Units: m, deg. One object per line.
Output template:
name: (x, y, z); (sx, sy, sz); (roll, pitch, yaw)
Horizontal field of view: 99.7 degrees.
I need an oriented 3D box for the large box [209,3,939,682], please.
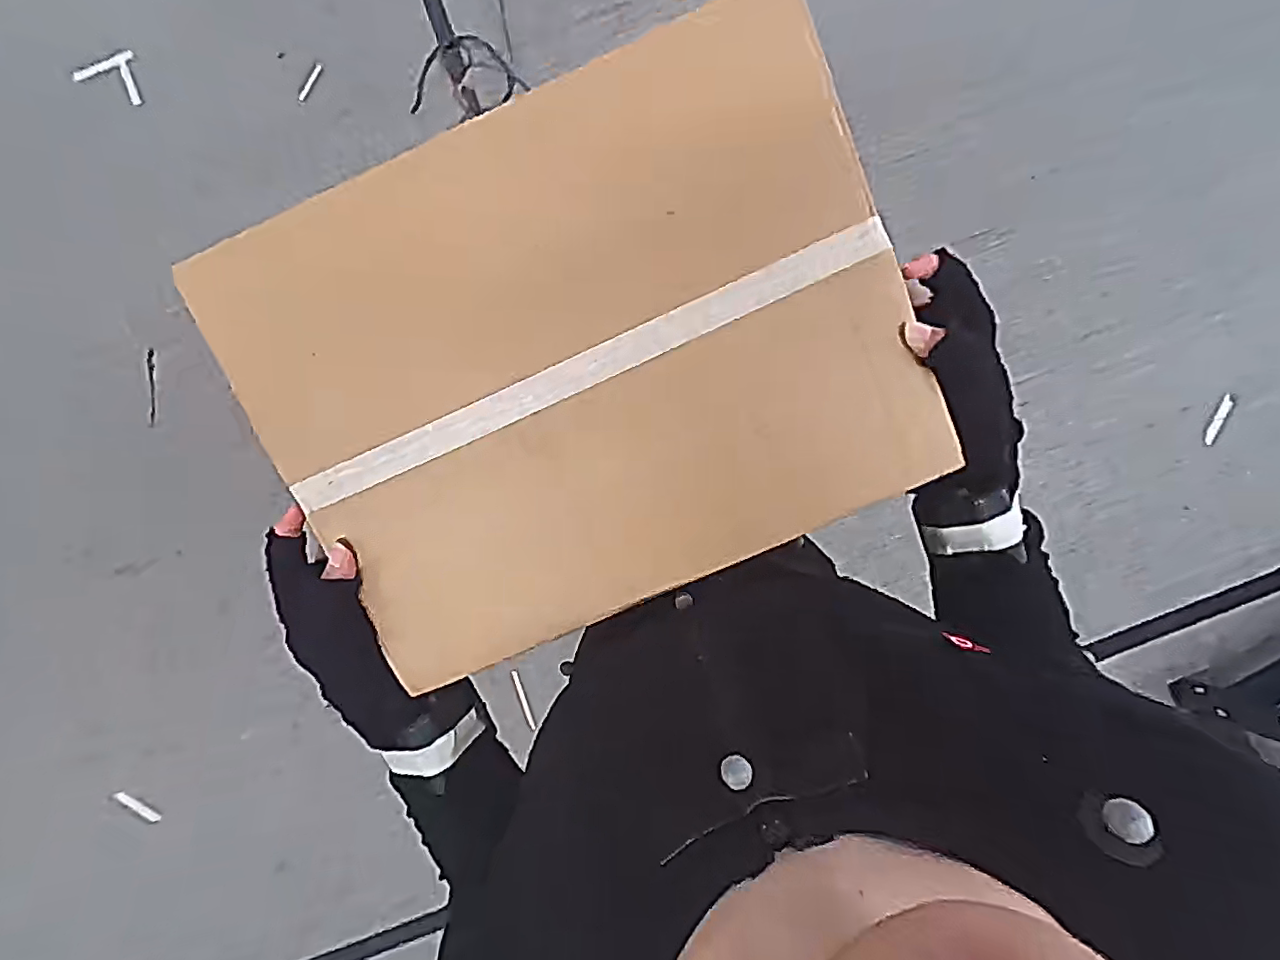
large box: (-0.035, -0.094, 0.500); (0.408, 0.320, 0.320); (-23, 98, 4)
